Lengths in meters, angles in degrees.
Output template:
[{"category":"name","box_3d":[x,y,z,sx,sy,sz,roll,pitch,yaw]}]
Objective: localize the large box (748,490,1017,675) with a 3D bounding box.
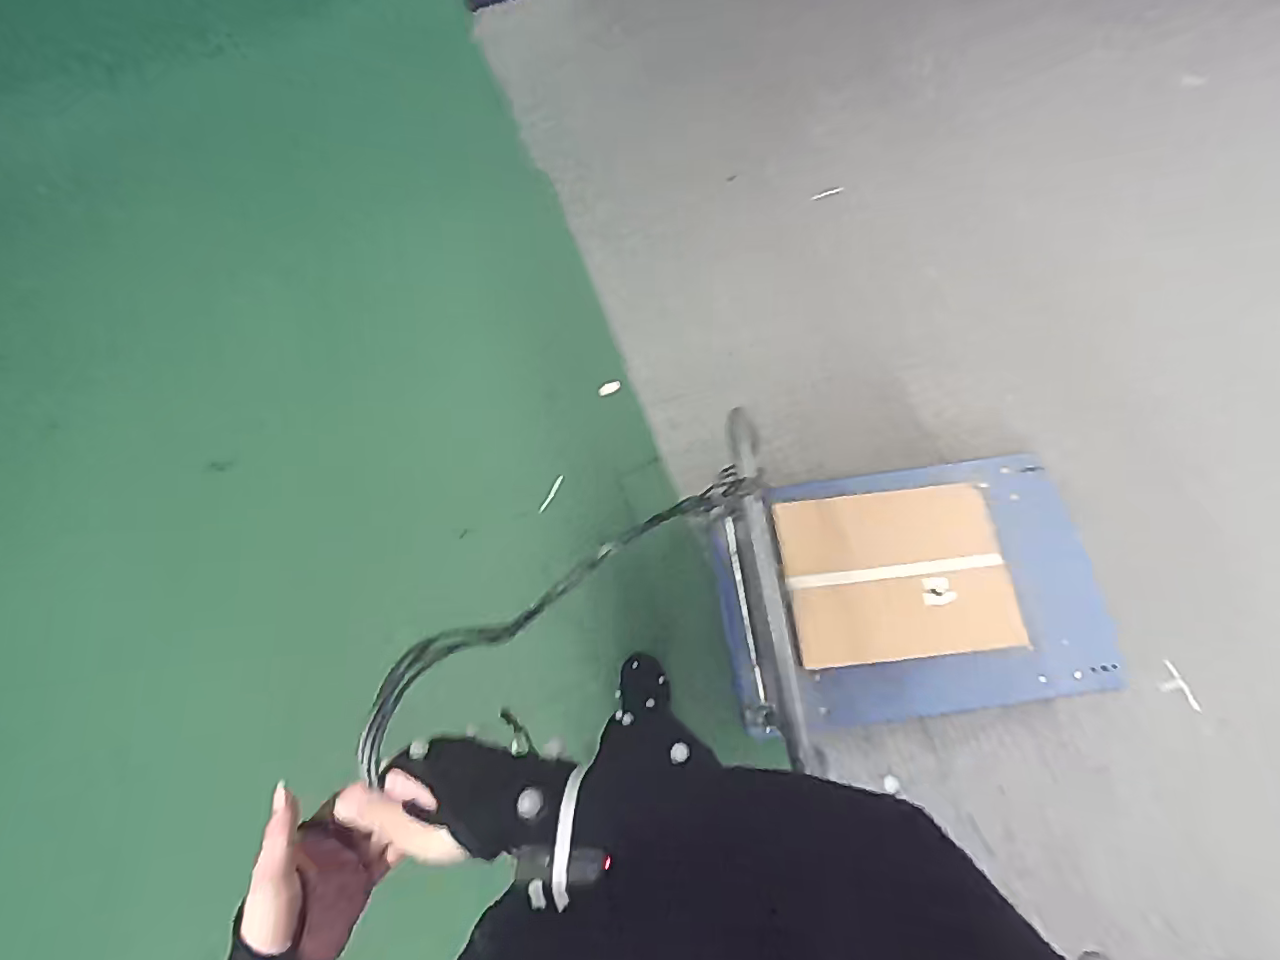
[{"category":"large box","box_3d":[0.479,0.235,1.171,0.408,0.320,0.320,-6,72,0]}]
